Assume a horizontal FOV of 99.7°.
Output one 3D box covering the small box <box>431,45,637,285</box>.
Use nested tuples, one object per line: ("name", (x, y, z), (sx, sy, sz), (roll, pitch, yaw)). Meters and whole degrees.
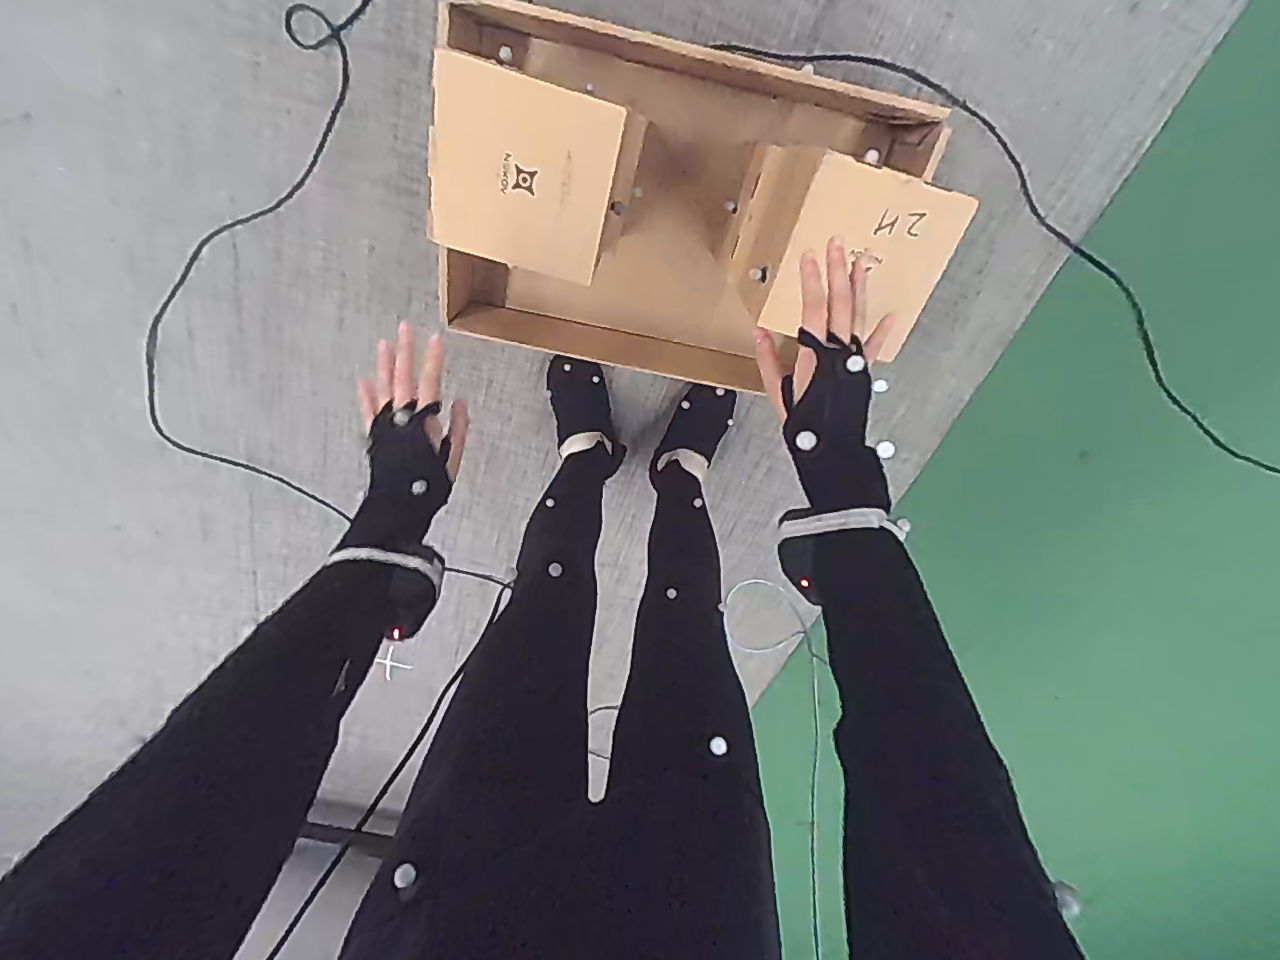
("small box", (-0.108, -0.337, 0.591), (0.179, 0.176, 0.168), (14, 123, -9))

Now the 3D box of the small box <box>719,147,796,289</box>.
("small box", (0.222, -0.350, 0.765), (0.179, 0.176, 0.168), (15, 122, -7))

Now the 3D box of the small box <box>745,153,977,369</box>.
("small box", (0.232, -0.258, 0.628), (0.168, 0.176, 0.179), (14, 121, -8))
